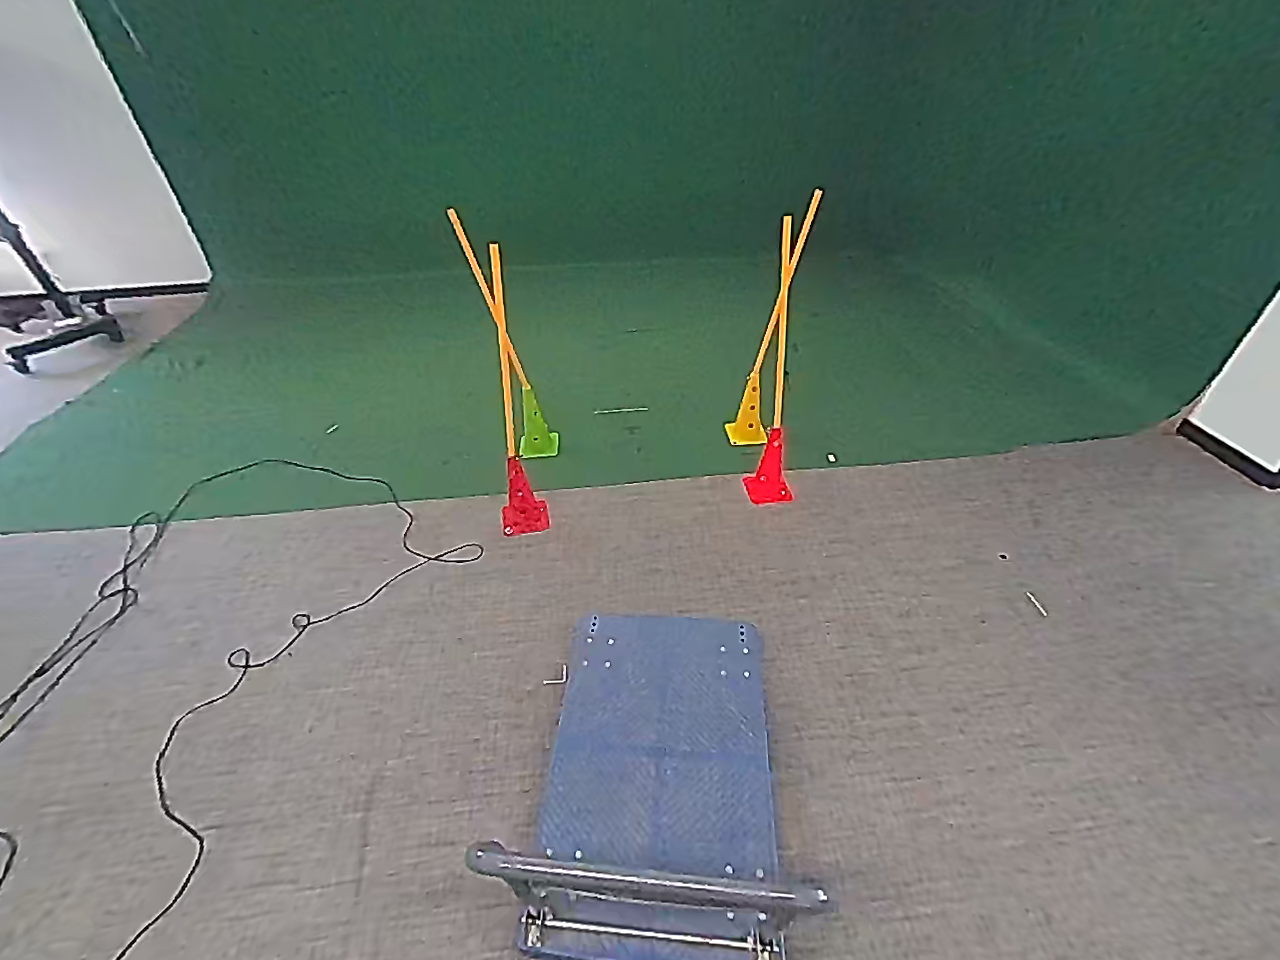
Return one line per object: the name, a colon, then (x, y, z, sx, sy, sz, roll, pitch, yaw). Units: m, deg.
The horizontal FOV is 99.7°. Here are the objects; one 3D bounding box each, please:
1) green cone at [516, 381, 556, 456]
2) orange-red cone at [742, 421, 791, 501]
green cone: (-0.547, -0.325, 2.713, 0.200, 0.368, 0.202, -5, 39, -3)
orange-red cone: (0.580, -0.102, 2.404, 0.198, 0.360, 0.199, -4, 38, -4)
